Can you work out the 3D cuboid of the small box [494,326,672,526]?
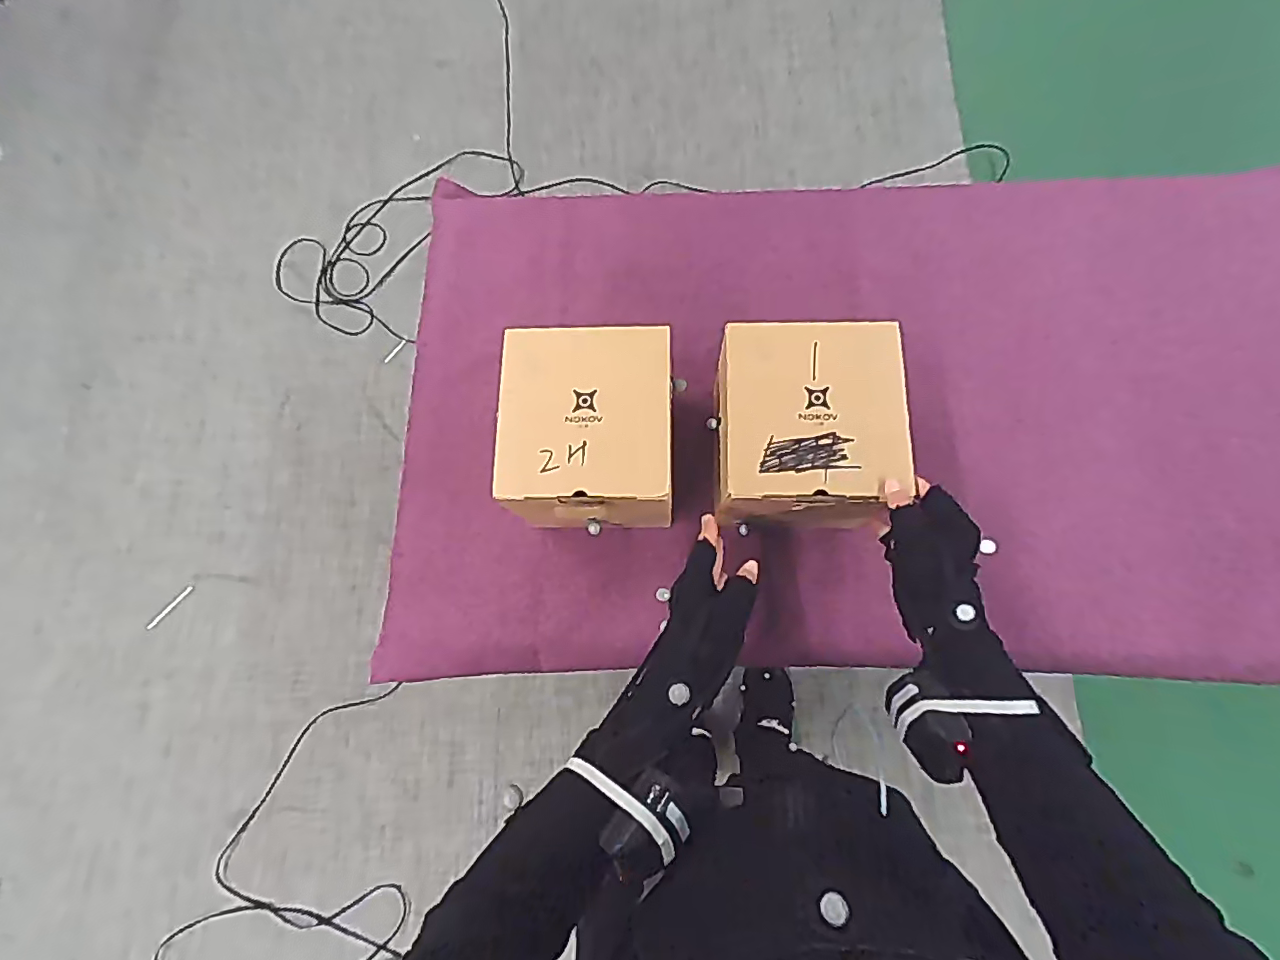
[{"bbox_3d":[-0.050,-0.049,0.595,0.168,0.176,0.179,0,77,4],"label":"small box"}]

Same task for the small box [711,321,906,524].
[{"bbox_3d":[0.165,-0.050,0.581,0.168,0.176,0.179,1,76,4],"label":"small box"}]
